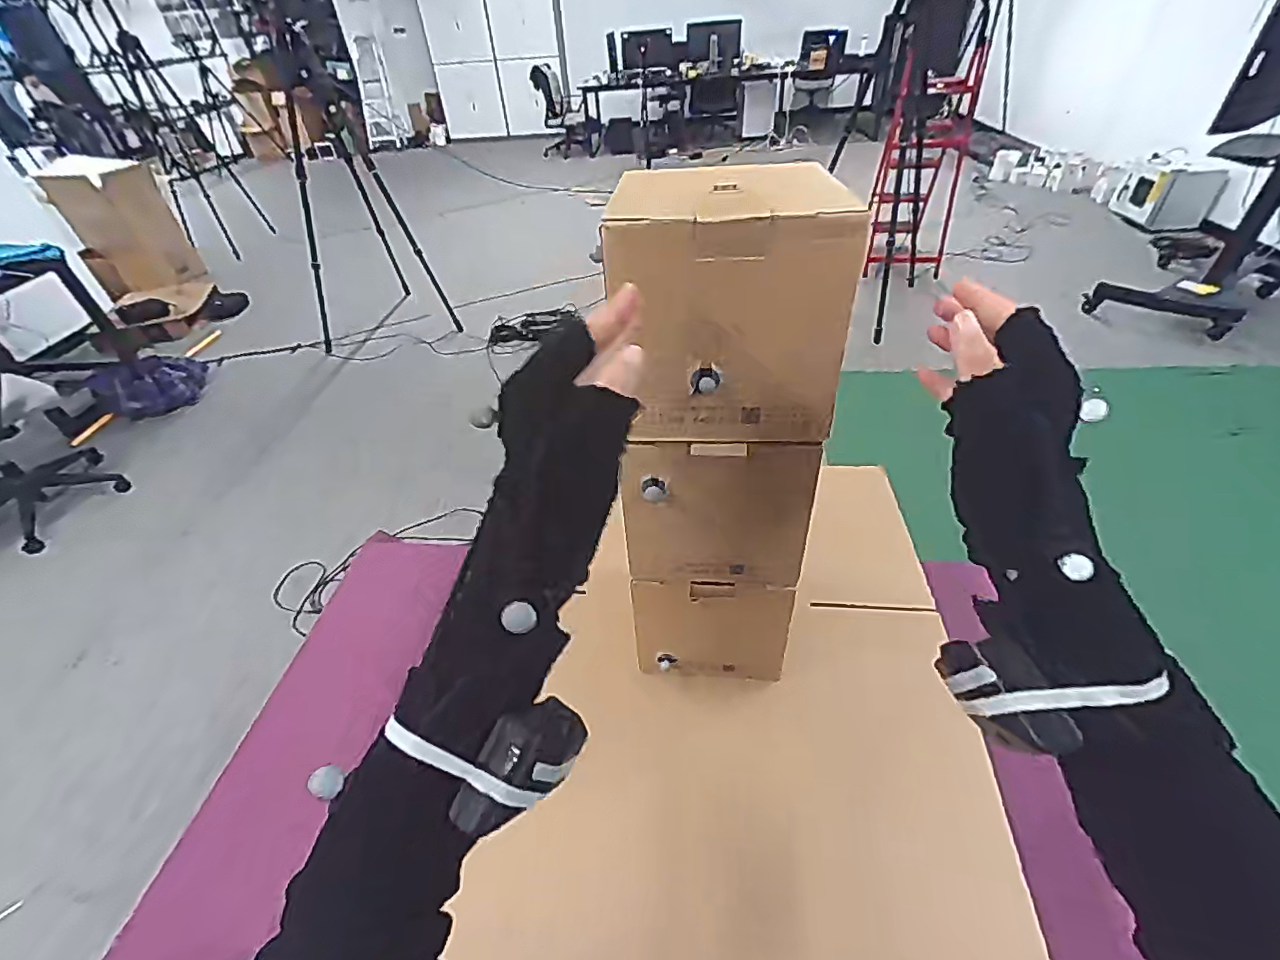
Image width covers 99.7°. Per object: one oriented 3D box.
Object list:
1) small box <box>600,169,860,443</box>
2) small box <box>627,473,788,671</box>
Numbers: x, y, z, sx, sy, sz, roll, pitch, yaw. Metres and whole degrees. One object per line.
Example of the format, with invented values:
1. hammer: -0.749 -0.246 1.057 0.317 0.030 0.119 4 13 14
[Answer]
1. small box: 0.064 -0.148 0.452 0.168 0.176 0.179 0 39 5
2. small box: 0.082 0.110 0.653 0.168 0.176 0.179 1 39 7
